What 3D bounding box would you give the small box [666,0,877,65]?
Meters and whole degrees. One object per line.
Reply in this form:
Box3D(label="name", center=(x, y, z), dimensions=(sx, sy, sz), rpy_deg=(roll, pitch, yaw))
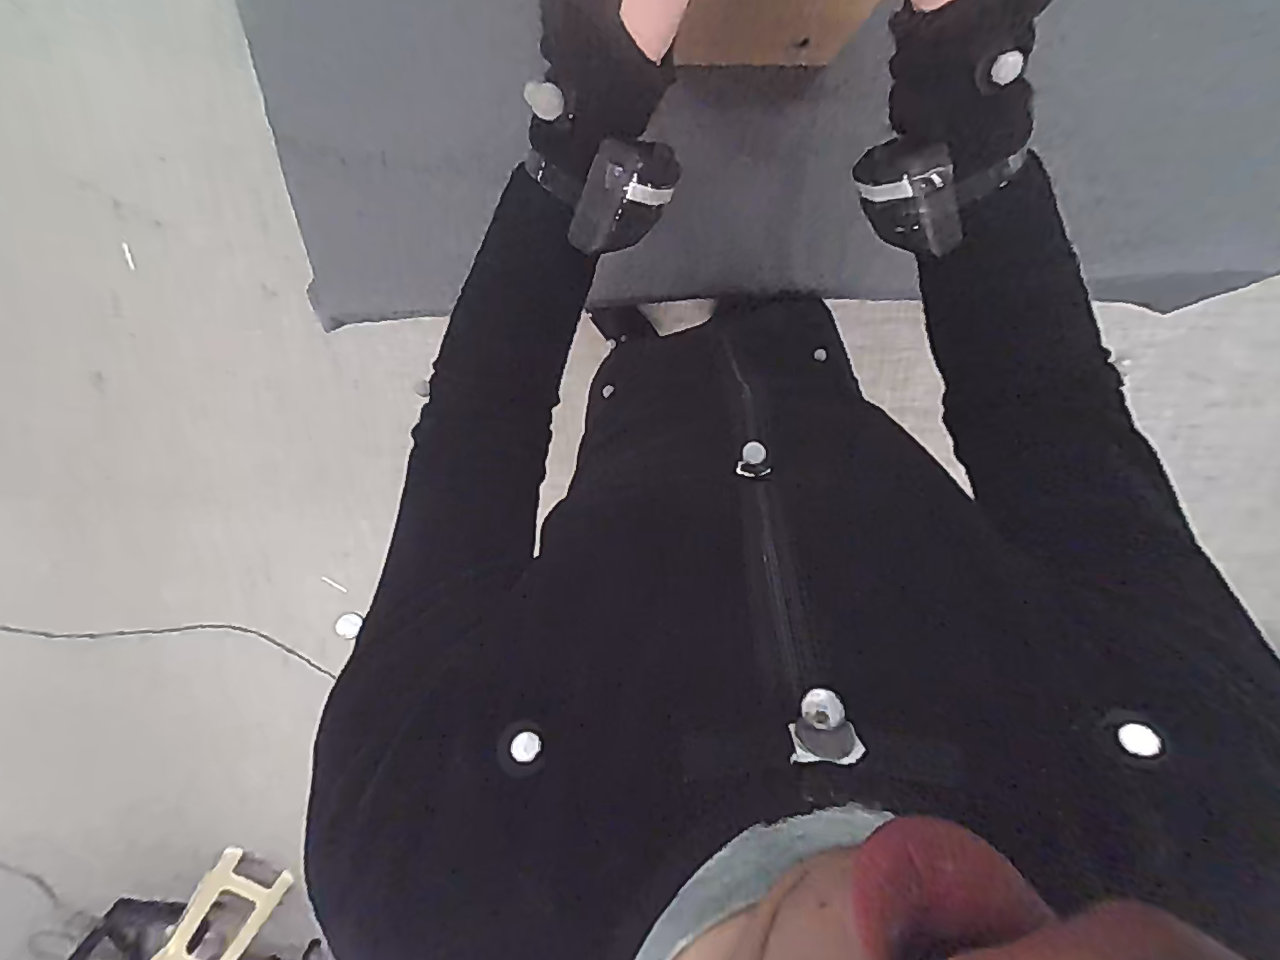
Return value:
Box3D(label="small box", center=(0.116, -0.498, 0.487), dimensions=(0.179, 0.176, 0.168), rpy_deg=(3, 114, 5))
